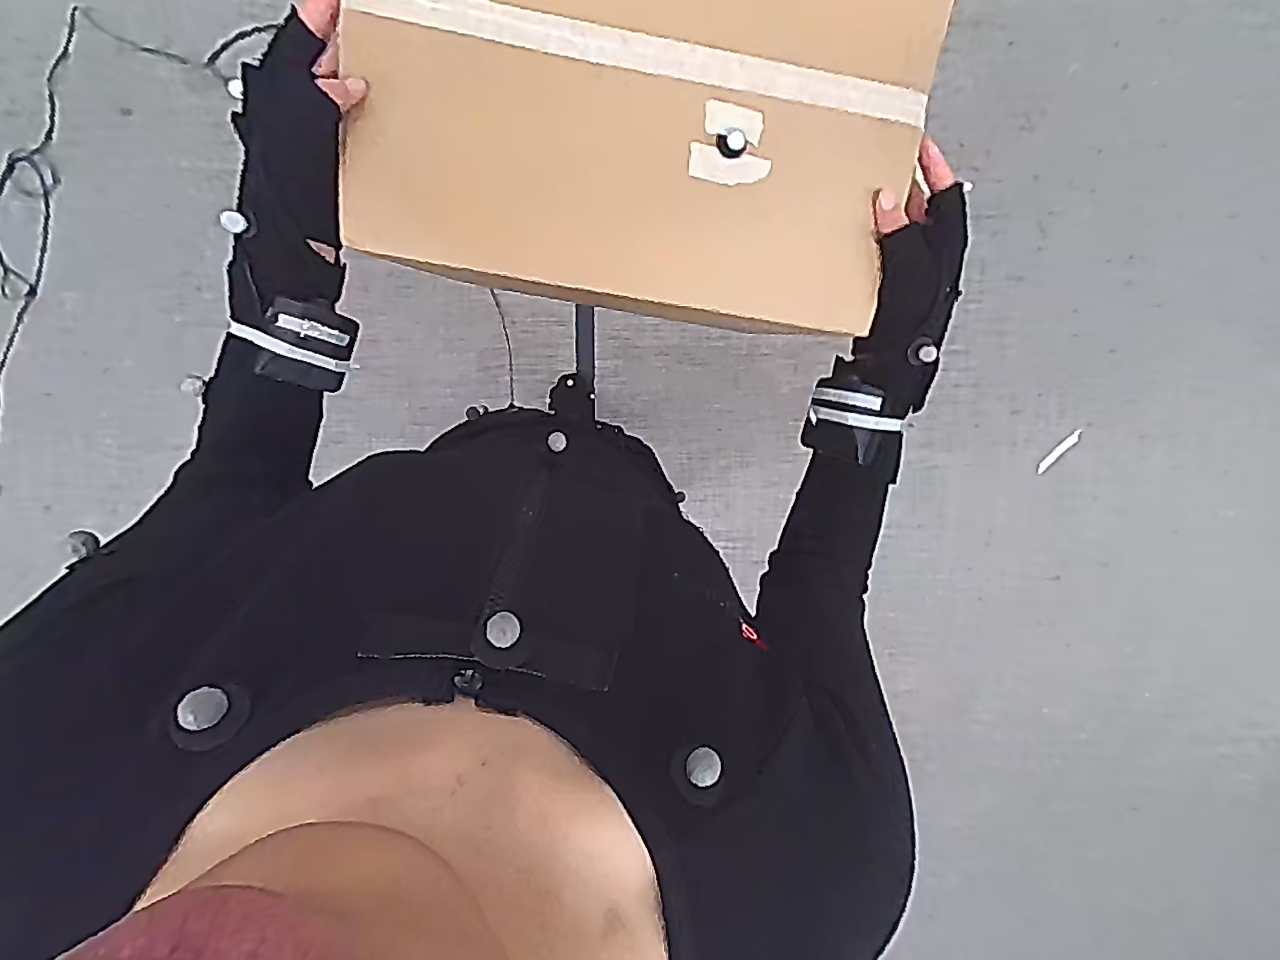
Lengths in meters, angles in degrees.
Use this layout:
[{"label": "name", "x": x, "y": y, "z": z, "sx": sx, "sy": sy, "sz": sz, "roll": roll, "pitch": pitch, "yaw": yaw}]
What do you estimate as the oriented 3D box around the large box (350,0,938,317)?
[{"label": "large box", "x": -0.007, "y": -0.342, "z": 0.519, "sx": 0.408, "sy": 0.320, "sz": 0.320, "roll": 7, "pitch": 106, "yaw": -6}]
